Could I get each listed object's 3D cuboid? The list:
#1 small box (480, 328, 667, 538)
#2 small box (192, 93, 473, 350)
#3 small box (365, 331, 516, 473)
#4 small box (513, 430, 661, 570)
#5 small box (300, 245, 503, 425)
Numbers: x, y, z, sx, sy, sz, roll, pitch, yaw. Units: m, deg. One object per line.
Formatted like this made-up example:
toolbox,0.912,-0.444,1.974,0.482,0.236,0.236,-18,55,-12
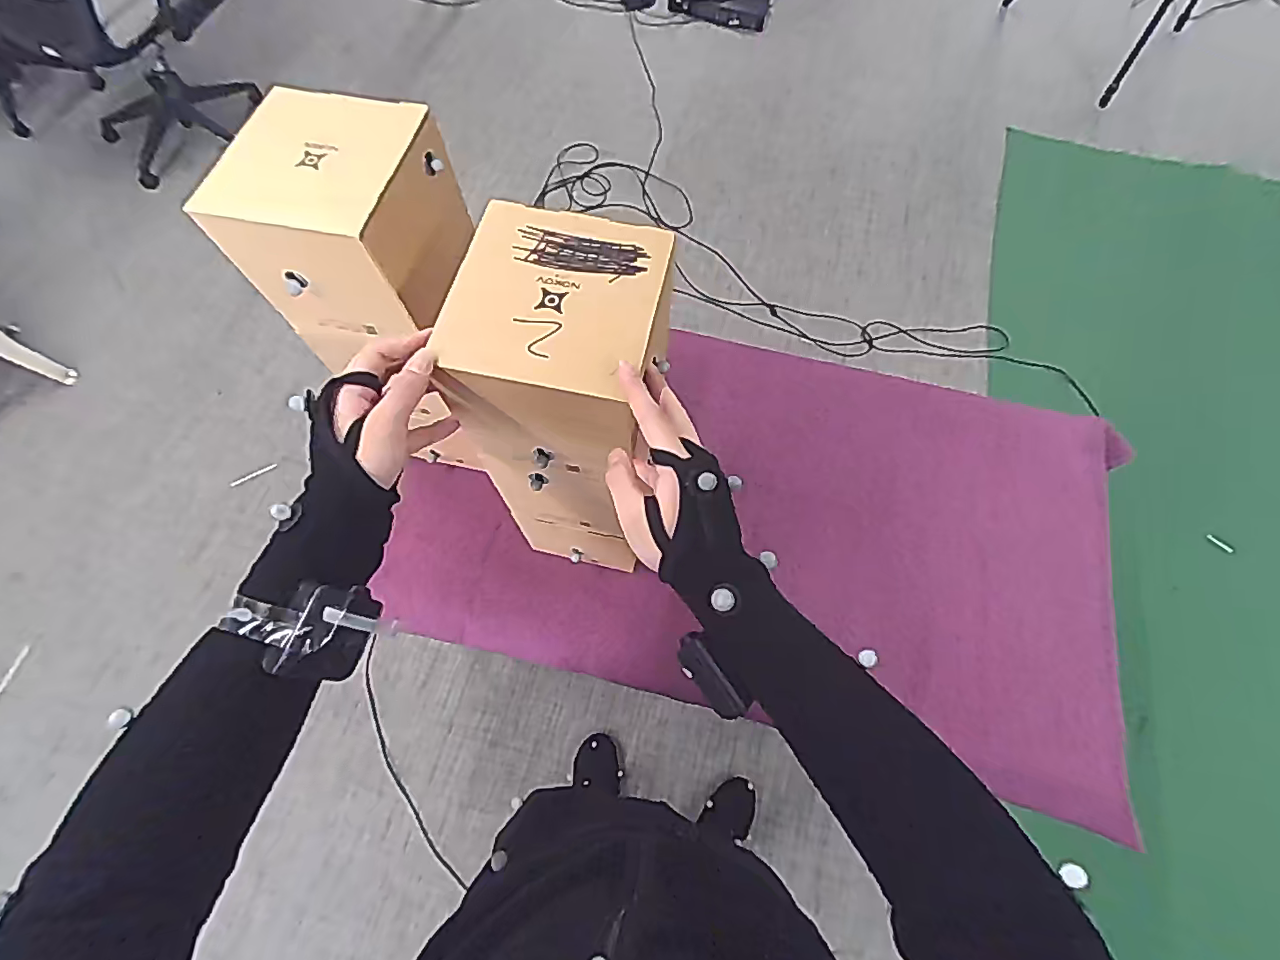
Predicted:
small box,-0.069,-0.050,0.658,0.168,0.176,0.179,12,66,6
small box,-0.297,-0.262,0.572,0.168,0.176,0.179,10,67,5
small box,-0.298,-0.133,0.871,0.168,0.176,0.179,12,68,5
small box,-0.071,0.017,0.807,0.168,0.176,0.179,13,68,6
small box,-0.296,-0.199,0.721,0.168,0.176,0.179,11,68,5
